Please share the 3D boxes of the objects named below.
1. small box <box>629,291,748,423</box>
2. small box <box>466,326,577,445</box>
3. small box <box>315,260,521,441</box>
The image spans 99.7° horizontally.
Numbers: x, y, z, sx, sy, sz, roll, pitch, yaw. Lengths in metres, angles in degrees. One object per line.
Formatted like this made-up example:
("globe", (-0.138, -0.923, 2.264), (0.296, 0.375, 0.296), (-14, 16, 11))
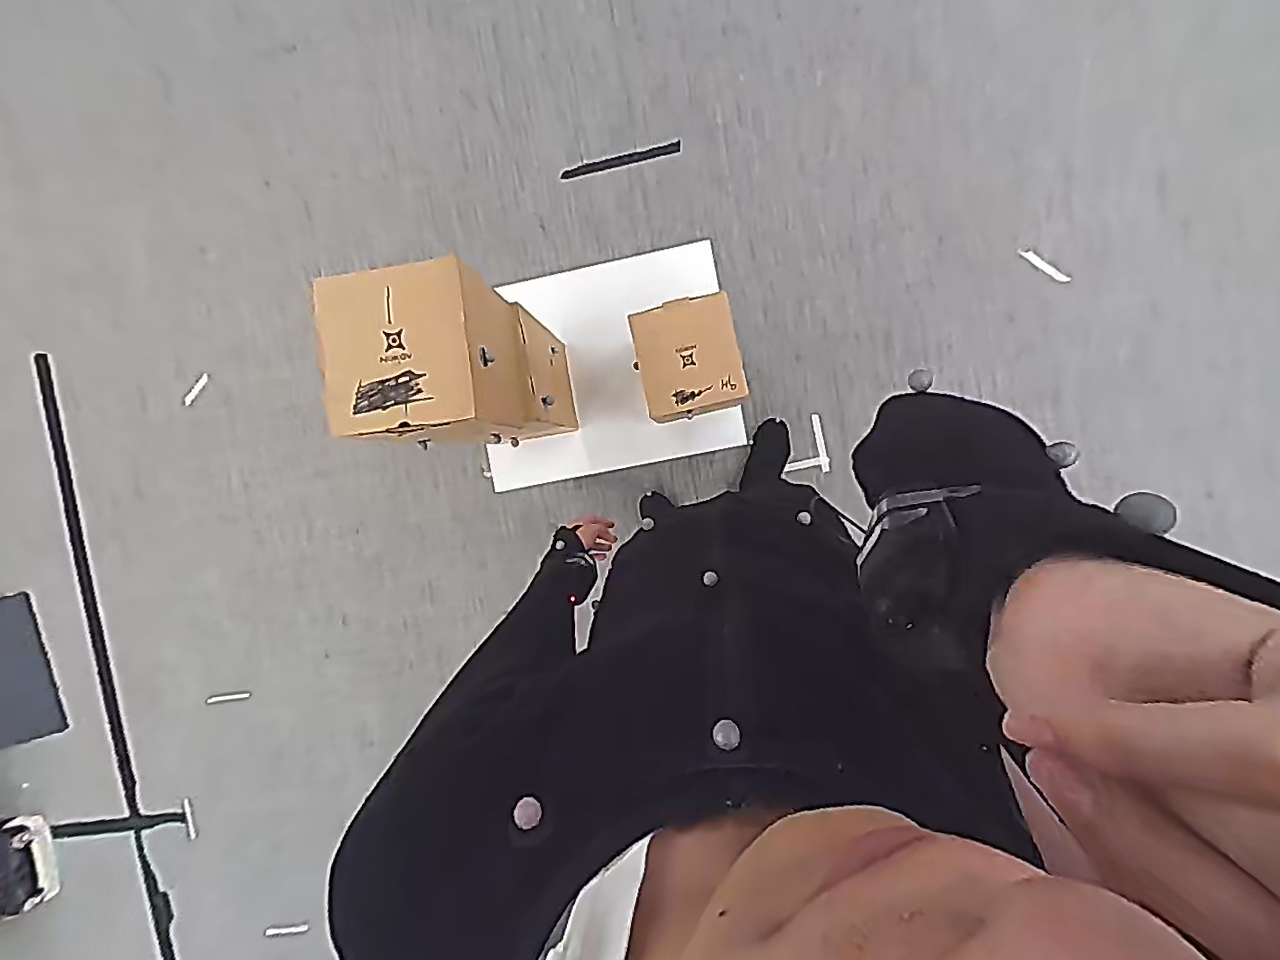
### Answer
("small box", (0.084, -0.205, 0.953), (0.168, 0.176, 0.179), (-13, 91, 7))
("small box", (-0.220, -0.162, 0.982), (0.168, 0.176, 0.179), (-10, 91, 4))
("small box", (-0.252, -0.141, 0.655), (0.168, 0.176, 0.179), (-7, 91, 5))
